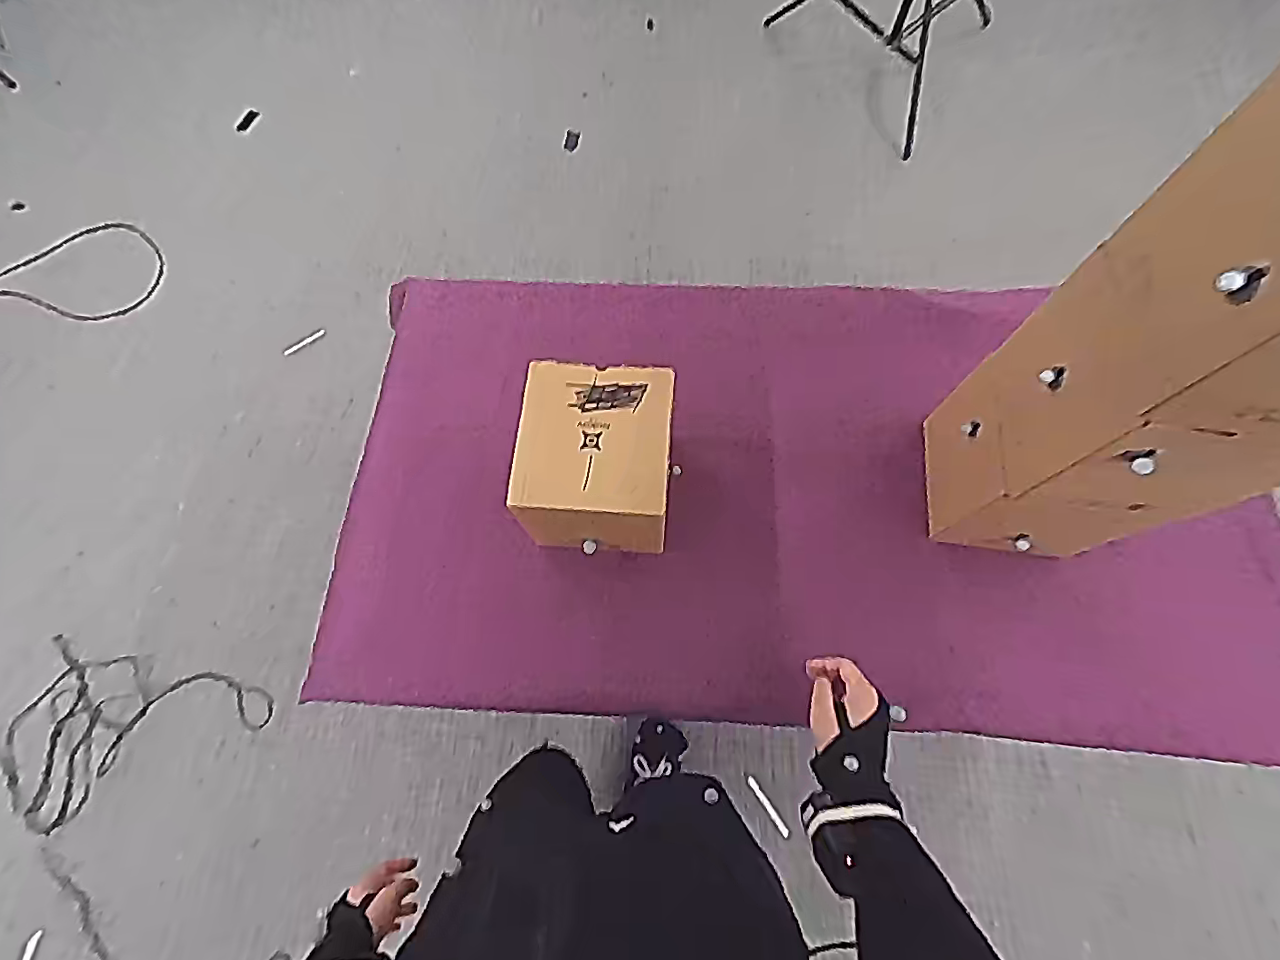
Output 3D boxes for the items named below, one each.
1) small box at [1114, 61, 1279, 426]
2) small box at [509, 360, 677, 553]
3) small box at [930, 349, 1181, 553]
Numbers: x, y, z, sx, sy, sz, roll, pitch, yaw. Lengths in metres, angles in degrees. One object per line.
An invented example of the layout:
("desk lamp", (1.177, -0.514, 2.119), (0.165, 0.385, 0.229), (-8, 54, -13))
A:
("small box", (0.446, -0.140, 0.331), (0.168, 0.176, 0.179), (9, 68, 5))
("small box", (-0.045, -0.021, 0.653), (0.168, 0.176, 0.179), (4, 70, 3))
("small box", (0.462, -0.026, 0.637), (0.168, 0.176, 0.179), (7, 69, 6))
